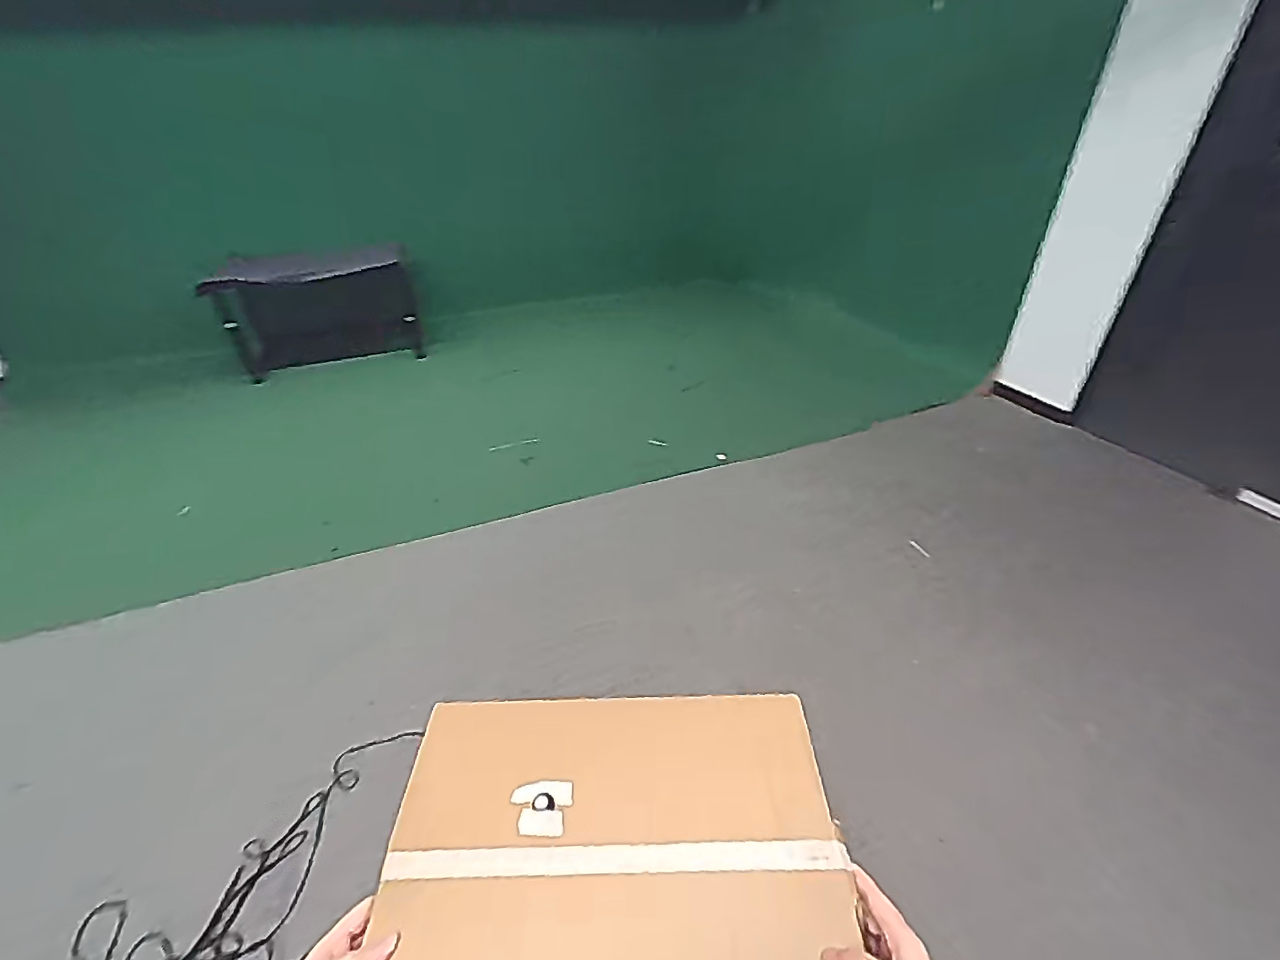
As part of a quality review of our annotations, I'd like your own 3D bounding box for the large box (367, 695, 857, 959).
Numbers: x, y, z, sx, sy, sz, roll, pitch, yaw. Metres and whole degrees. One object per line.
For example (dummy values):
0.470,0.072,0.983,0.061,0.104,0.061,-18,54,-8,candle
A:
-0.017,0.464,0.580,0.408,0.320,0.320,-4,38,2,large box
